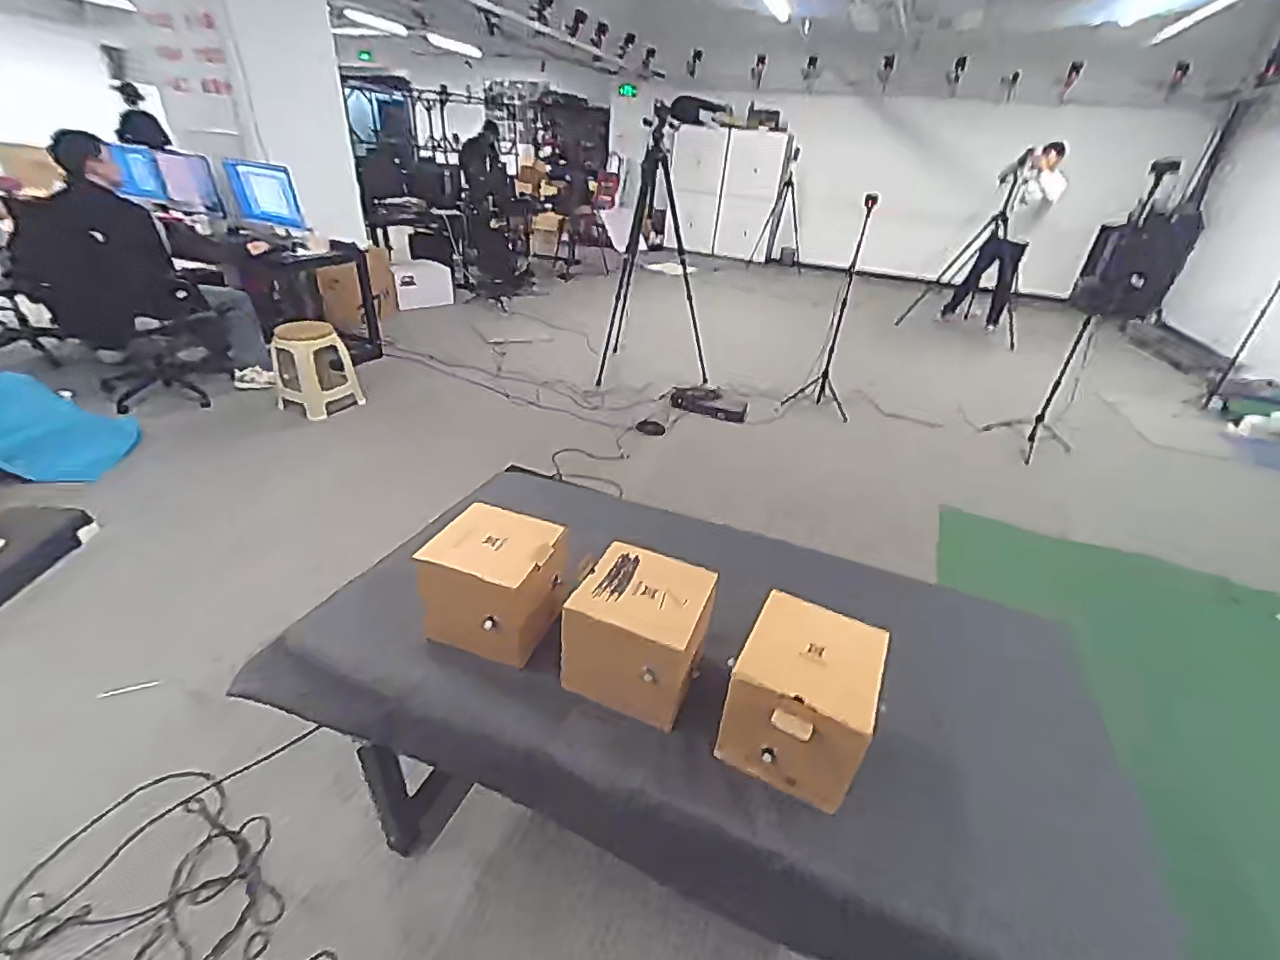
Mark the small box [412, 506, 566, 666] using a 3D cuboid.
[{"bbox_3d":[-0.232,0.169,0.869,0.179,0.176,0.168,13,30,14],"label":"small box"}]

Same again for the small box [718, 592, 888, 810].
[{"bbox_3d":[0.217,0.292,0.731,0.168,0.176,0.179,19,33,21],"label":"small box"}]
